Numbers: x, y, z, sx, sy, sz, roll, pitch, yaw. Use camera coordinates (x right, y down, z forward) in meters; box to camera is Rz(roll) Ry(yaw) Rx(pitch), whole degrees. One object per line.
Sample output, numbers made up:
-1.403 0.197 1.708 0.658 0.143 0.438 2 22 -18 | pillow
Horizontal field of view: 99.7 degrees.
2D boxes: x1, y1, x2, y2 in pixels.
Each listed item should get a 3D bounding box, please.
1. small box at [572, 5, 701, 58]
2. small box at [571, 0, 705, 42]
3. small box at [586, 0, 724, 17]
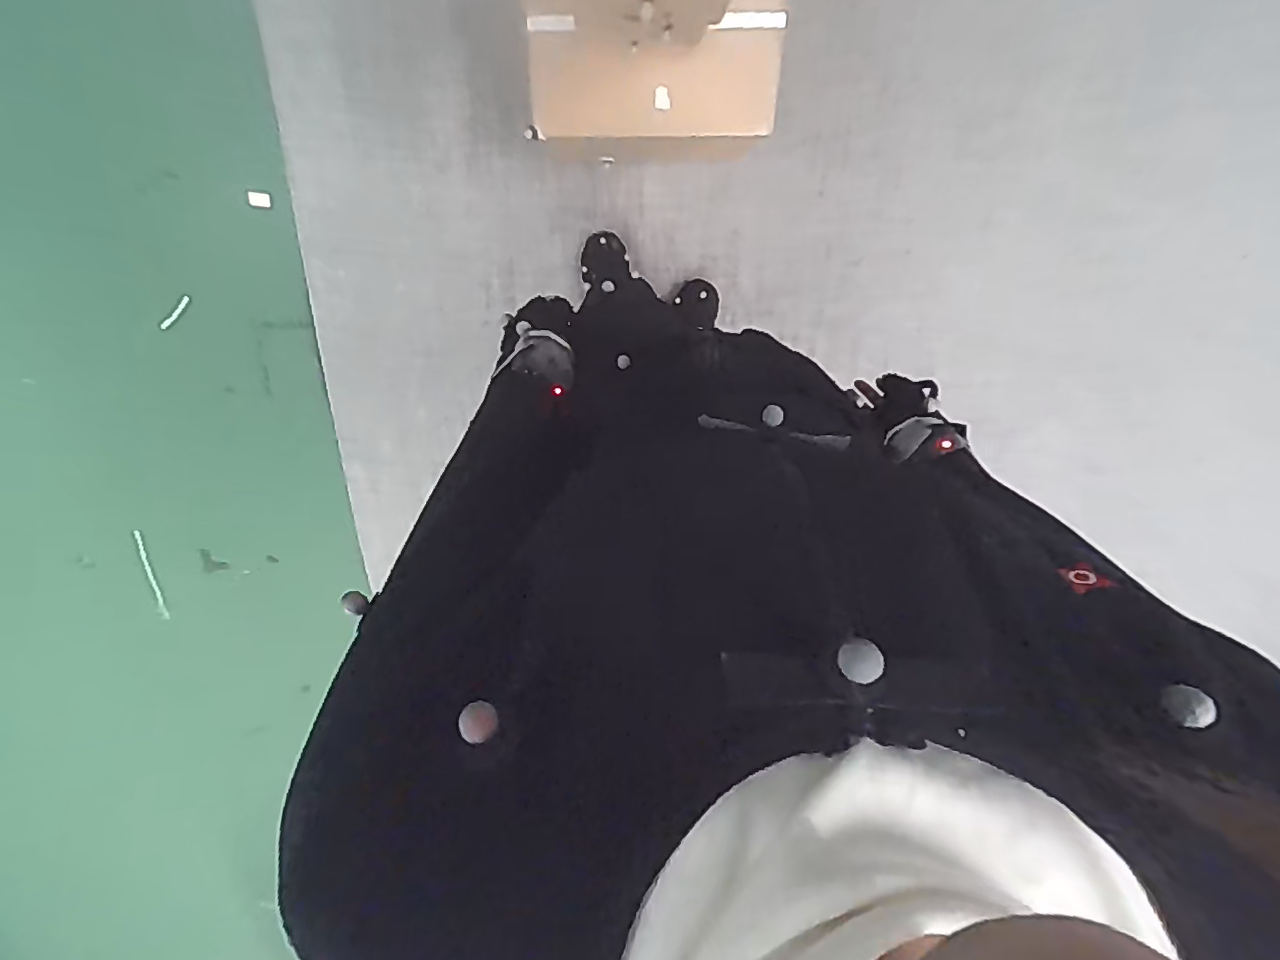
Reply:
0.006 -0.716 0.756 0.179 0.176 0.168 6 117 -2 | small box
0.009 -0.634 0.619 0.168 0.176 0.179 6 118 -3 | small box
0.013 -0.545 0.481 0.168 0.176 0.179 4 119 -2 | small box
